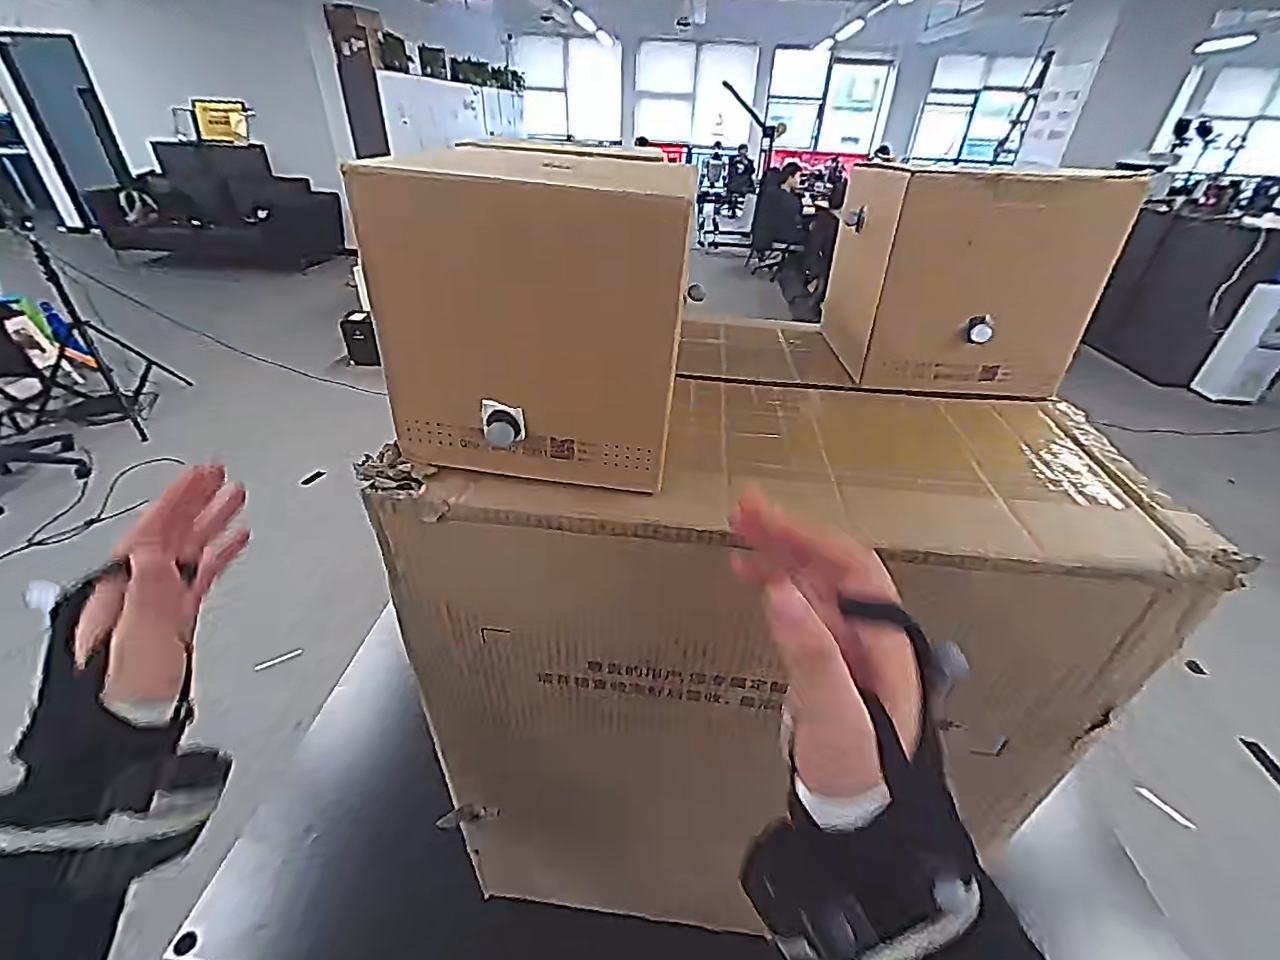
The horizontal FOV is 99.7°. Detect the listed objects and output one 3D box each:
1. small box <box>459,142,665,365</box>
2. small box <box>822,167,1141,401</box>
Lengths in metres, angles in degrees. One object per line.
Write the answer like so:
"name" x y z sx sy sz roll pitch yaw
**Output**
"small box" -0.067 -0.227 0.535 0.168 0.176 0.179 3 33 -2
"small box" 0.279 -0.186 0.498 0.168 0.176 0.179 3 32 4
